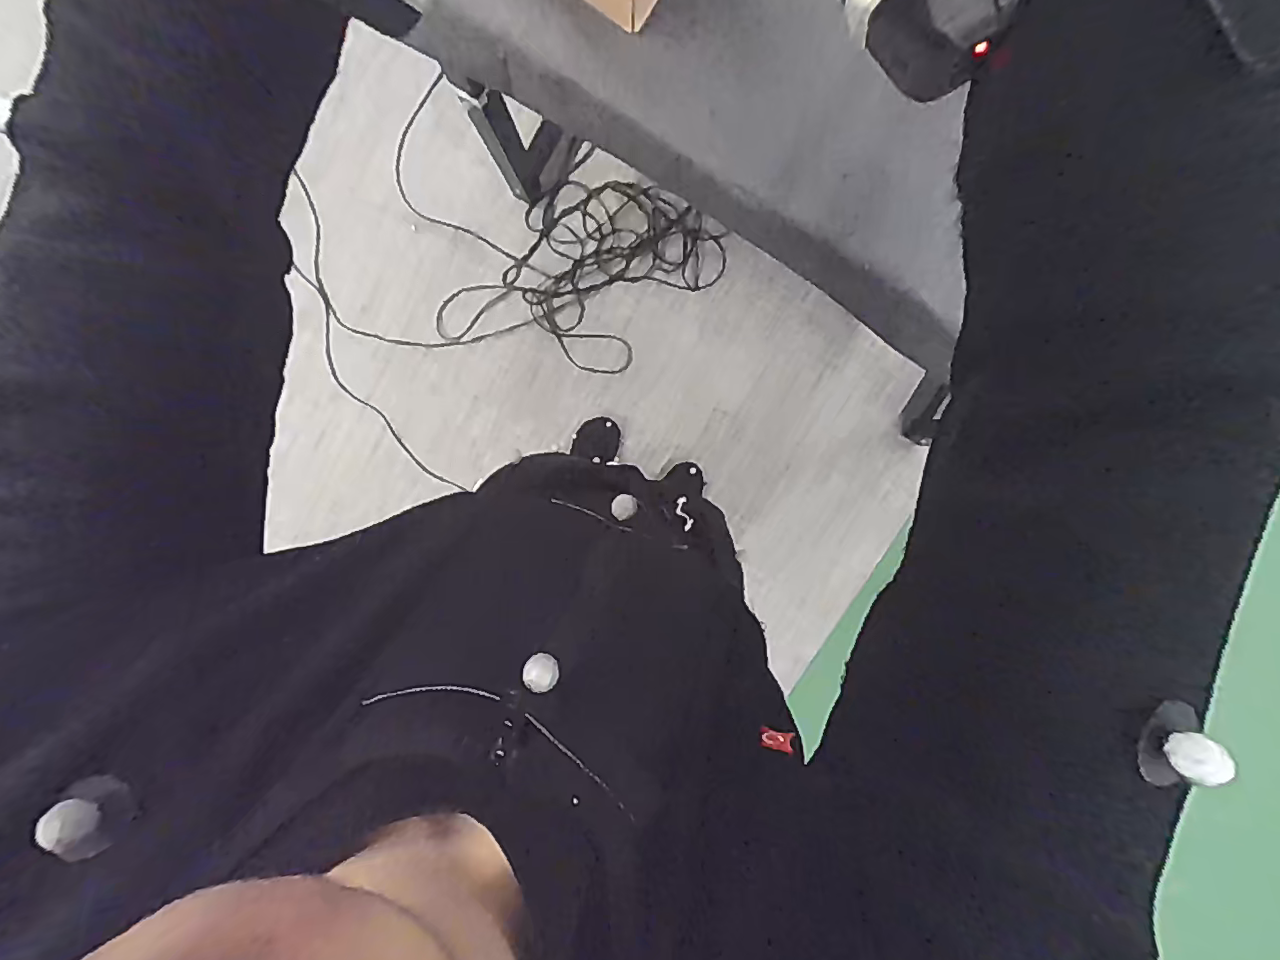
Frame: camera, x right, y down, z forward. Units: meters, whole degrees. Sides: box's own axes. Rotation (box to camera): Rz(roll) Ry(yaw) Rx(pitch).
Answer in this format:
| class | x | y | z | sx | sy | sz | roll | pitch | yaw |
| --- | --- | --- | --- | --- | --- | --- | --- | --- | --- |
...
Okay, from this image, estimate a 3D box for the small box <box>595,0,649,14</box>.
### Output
| class | x | y | z | sx | sy | sz | roll | pitch | yaw |
| --- | --- | --- | --- | --- | --- | --- | --- | --- | --- |
| small box | -0.034 | -0.583 | 0.479 | 0.179 | 0.176 | 0.168 | 33 | 95 | -6 |
